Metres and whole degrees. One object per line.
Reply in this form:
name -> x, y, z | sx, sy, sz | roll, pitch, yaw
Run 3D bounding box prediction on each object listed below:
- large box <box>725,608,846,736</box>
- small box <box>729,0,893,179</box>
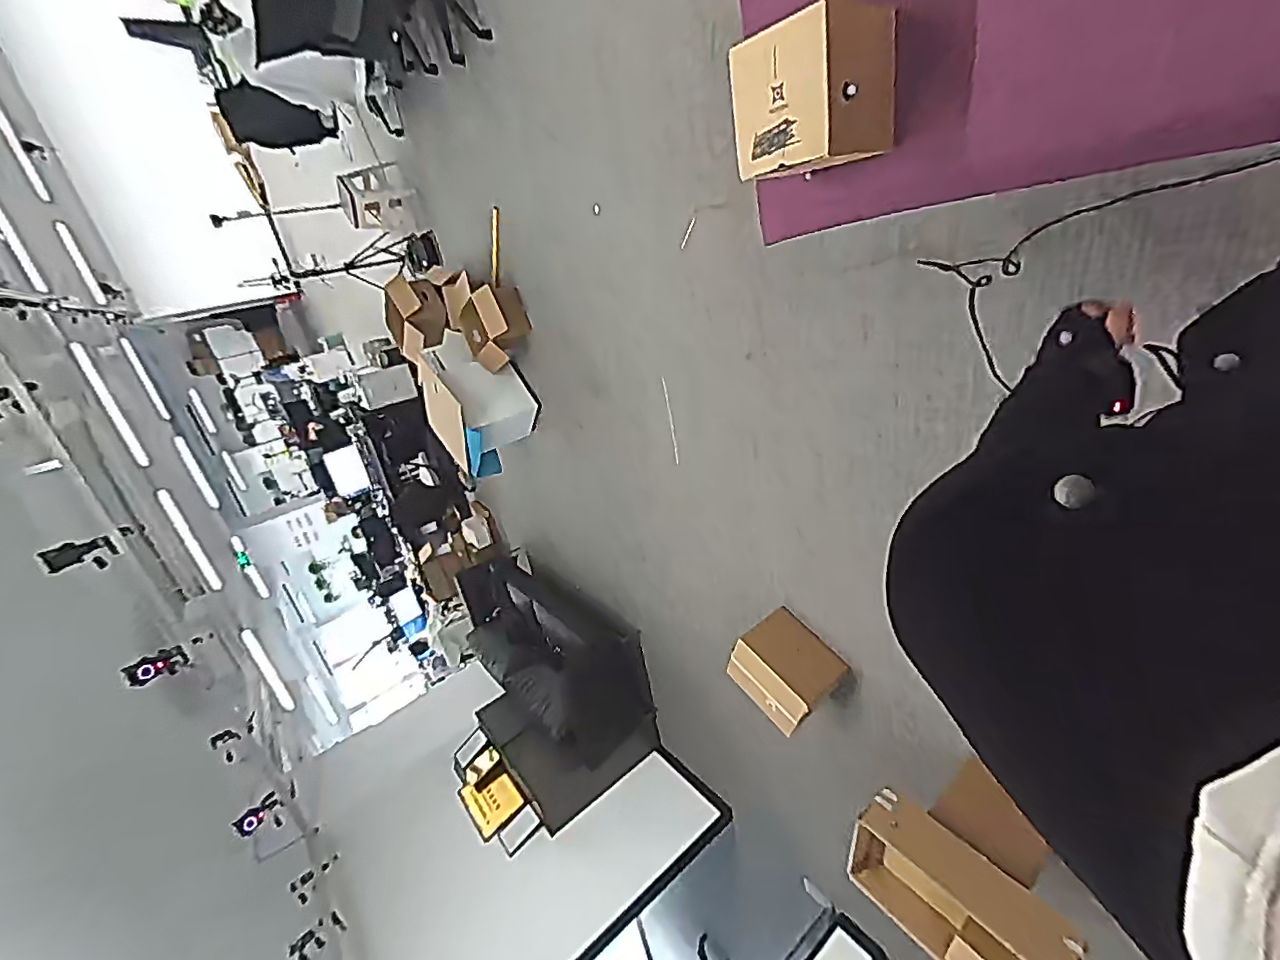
large box -> 0.669, 0.885, 2.528 | 0.408, 0.320, 0.320 | 41, 142, 32
small box -> 0.255, -0.568, 0.803 | 0.168, 0.176, 0.179 | 19, 126, 49
